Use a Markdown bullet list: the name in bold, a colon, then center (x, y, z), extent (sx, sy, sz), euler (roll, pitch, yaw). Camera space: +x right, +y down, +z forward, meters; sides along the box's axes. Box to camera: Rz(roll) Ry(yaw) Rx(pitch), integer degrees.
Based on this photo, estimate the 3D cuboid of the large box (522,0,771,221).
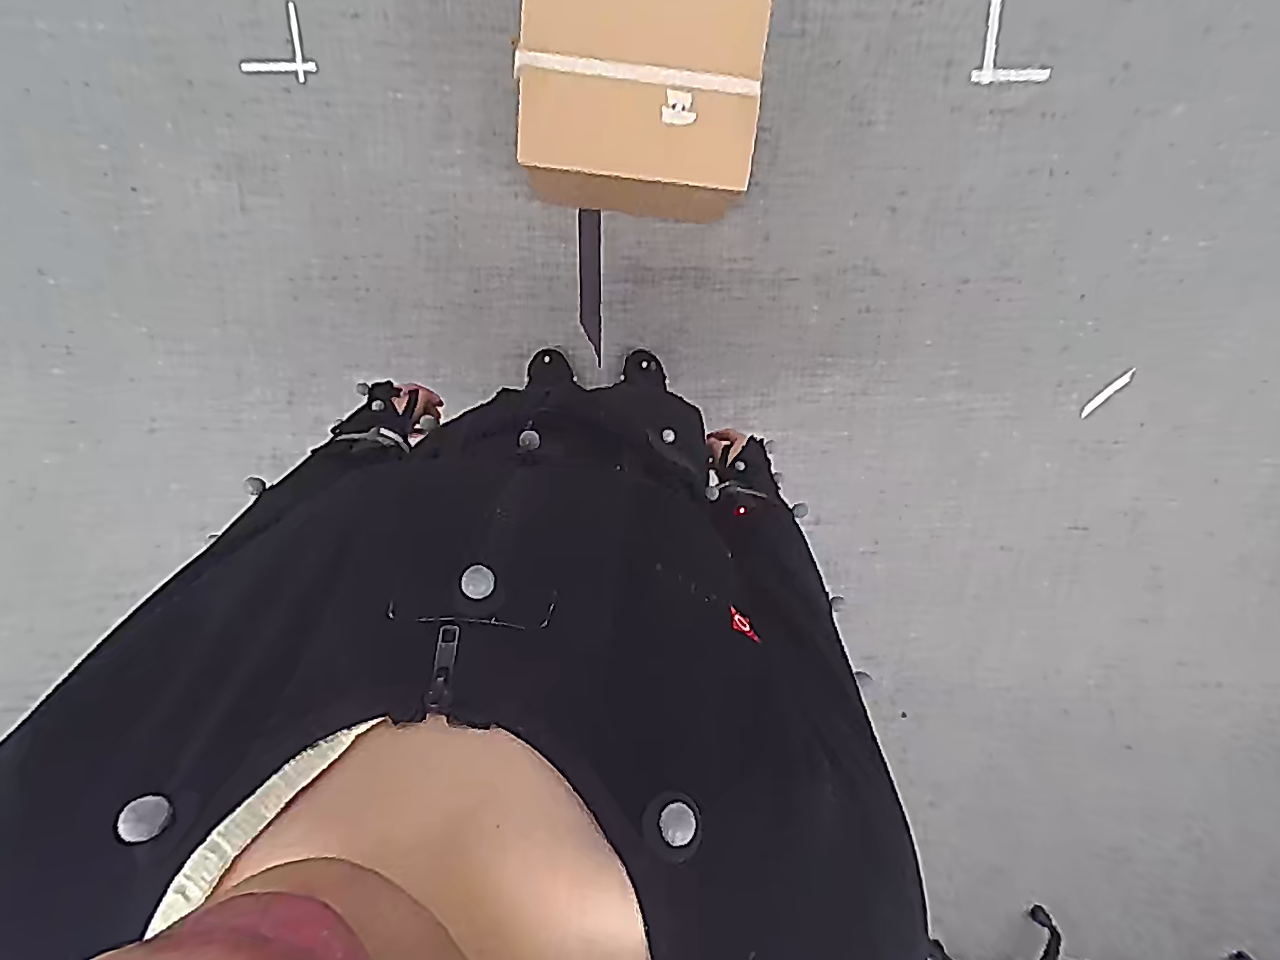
- **large box**: center (-0.004, -0.712, 1.044), extent (0.408, 0.320, 0.320), euler (4, 106, -5)
